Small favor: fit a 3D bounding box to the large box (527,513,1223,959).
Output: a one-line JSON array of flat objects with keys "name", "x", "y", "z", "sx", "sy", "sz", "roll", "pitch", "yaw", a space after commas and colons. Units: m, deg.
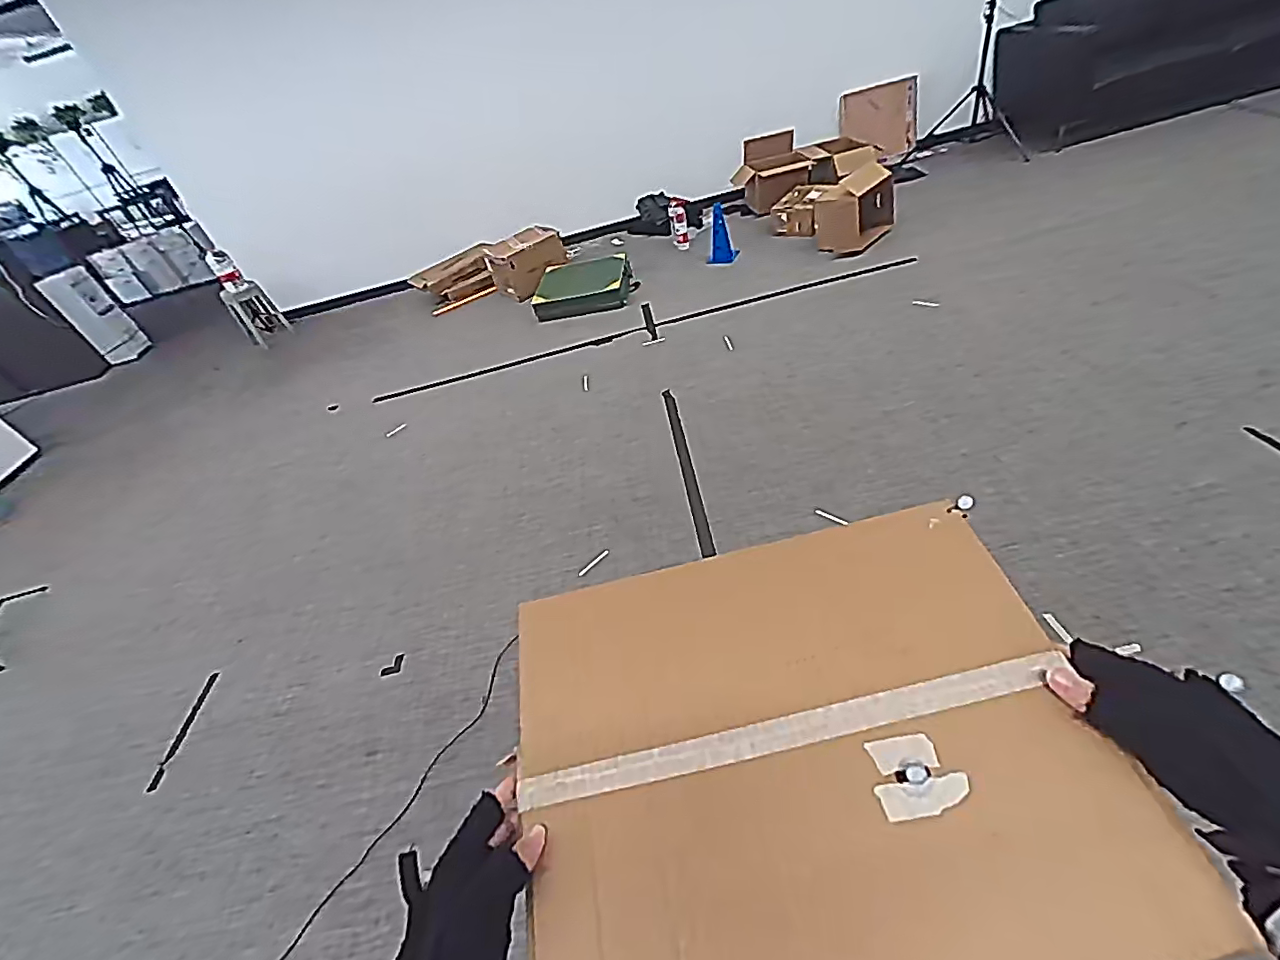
[{"name": "large box", "x": 0.138, "y": 0.286, "z": 0.515, "sx": 0.408, "sy": 0.320, "sz": 0.320, "roll": -14, "pitch": 50, "yaw": 1}]
